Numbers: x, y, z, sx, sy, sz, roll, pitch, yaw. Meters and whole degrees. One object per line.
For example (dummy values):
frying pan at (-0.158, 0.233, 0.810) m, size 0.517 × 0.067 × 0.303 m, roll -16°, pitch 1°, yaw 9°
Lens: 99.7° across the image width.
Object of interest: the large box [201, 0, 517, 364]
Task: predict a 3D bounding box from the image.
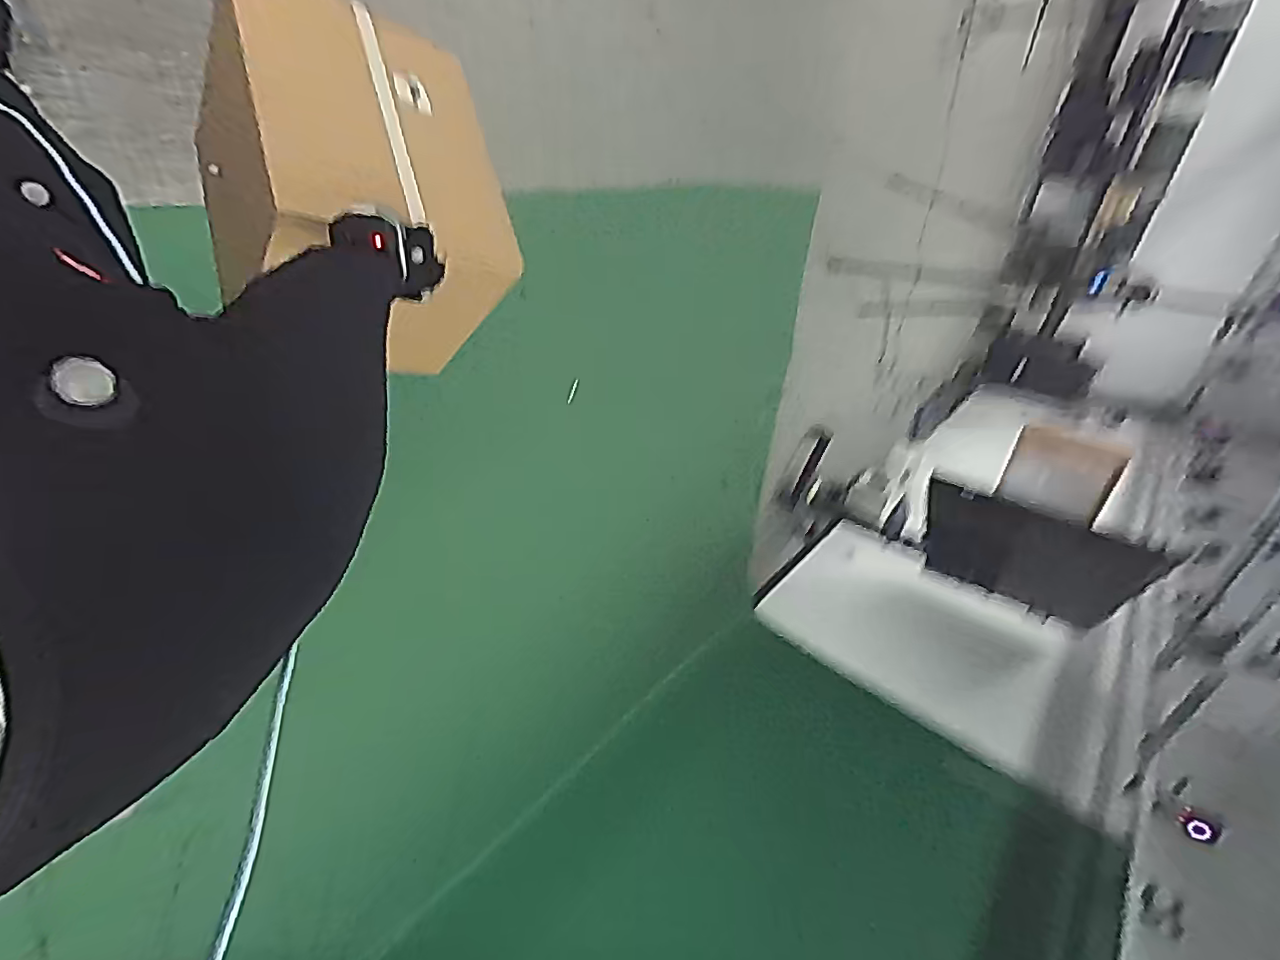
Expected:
large box at (-0.446, -0.432, 0.838) m, size 0.320 × 0.320 × 0.408 m, roll -7°, pitch 72°, yaw -46°
